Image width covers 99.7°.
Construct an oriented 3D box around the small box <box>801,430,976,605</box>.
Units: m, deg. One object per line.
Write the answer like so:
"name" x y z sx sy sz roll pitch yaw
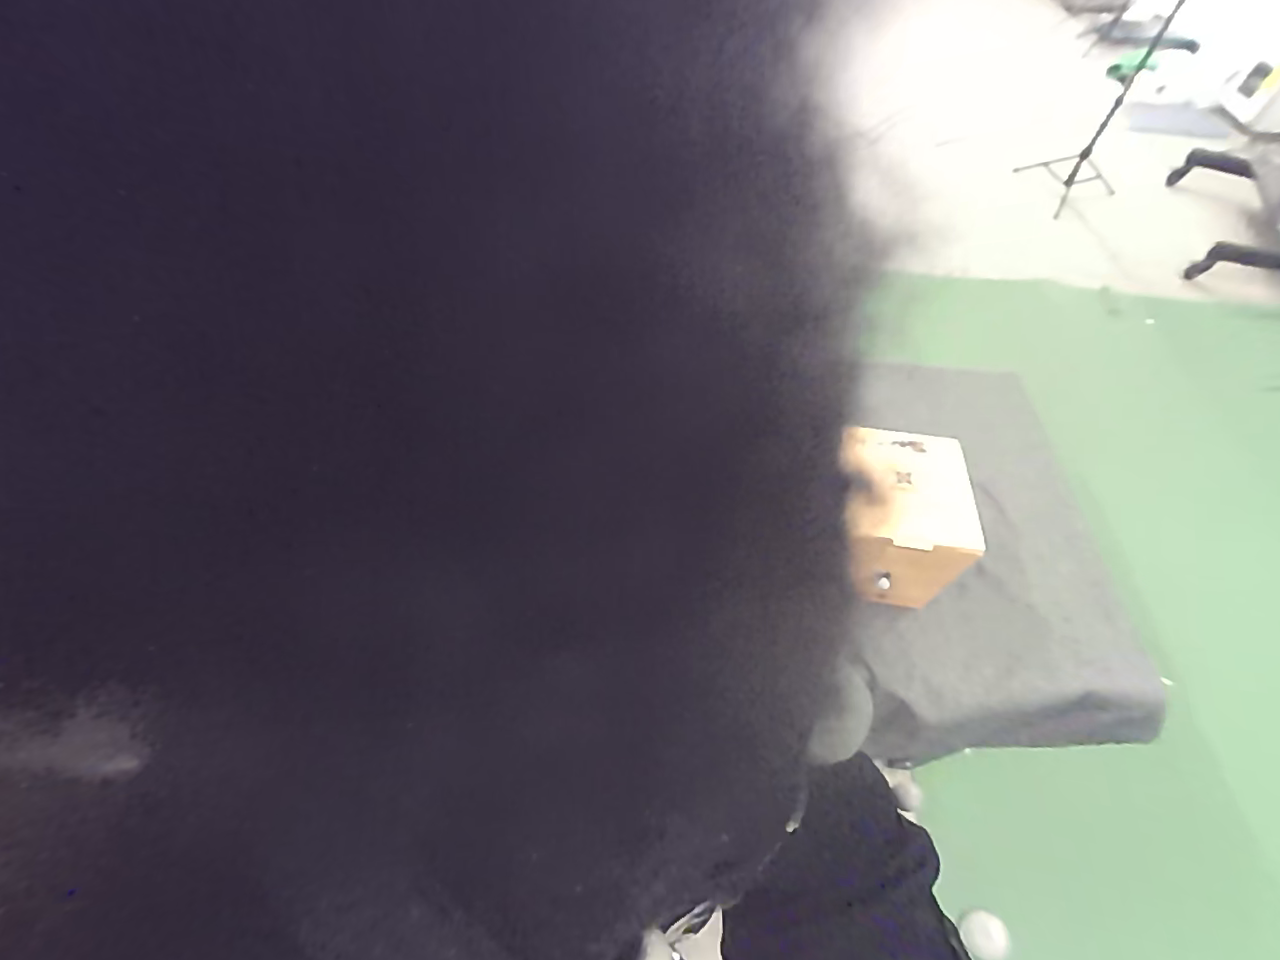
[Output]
"small box" 0.330 0.058 0.756 0.168 0.176 0.179 9 55 4
